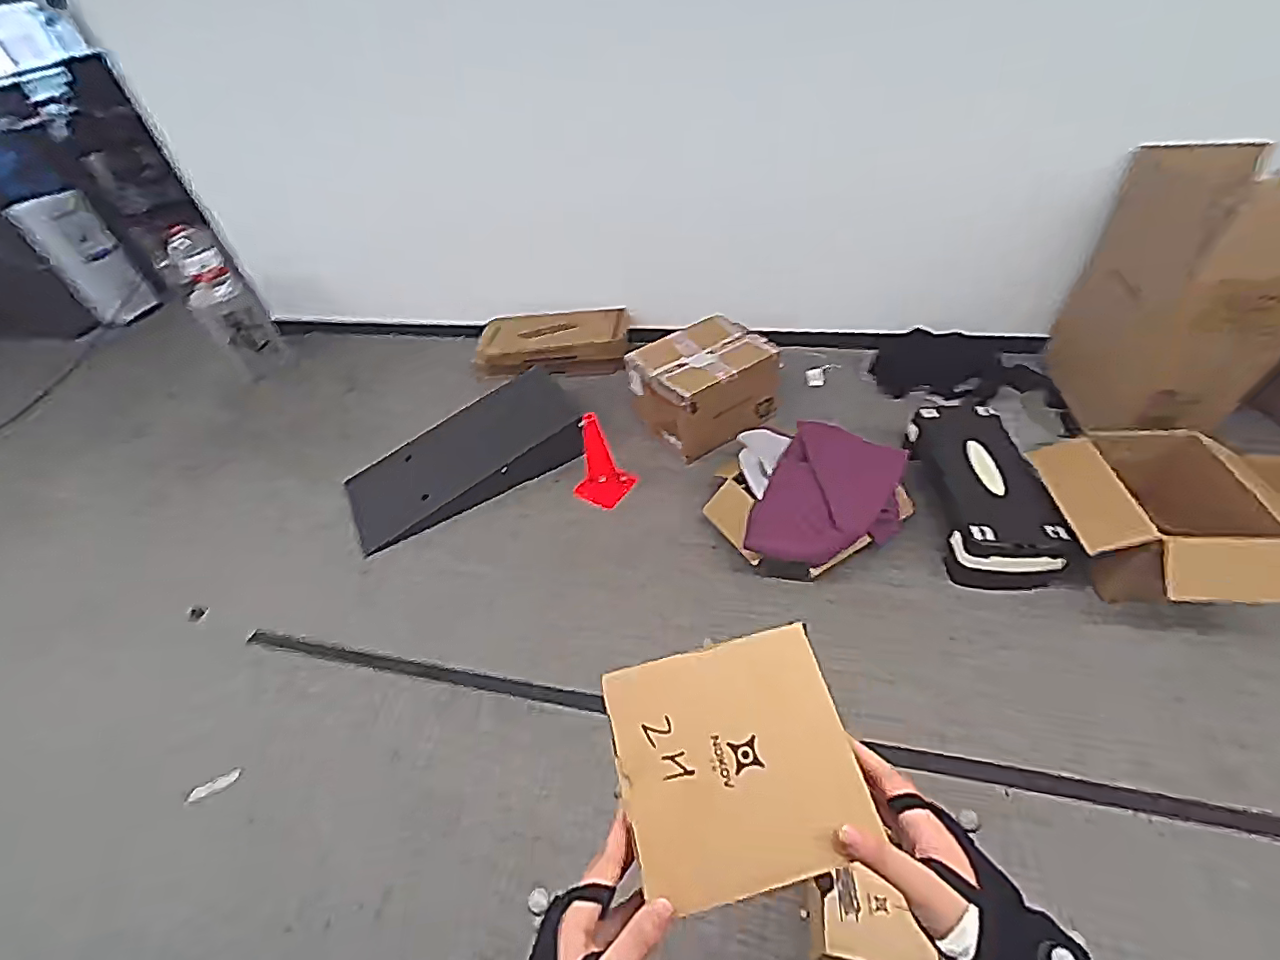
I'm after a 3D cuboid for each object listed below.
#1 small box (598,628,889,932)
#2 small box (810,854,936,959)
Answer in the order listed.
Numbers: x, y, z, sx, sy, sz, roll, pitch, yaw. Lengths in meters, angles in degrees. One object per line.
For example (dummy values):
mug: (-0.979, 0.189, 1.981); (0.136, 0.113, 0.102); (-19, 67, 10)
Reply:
small box: (0.071, 0.246, 0.466); (0.179, 0.176, 0.168); (-14, 60, -5)
small box: (0.398, 0.767, 0.955); (0.179, 0.176, 0.168); (5, 46, 12)
